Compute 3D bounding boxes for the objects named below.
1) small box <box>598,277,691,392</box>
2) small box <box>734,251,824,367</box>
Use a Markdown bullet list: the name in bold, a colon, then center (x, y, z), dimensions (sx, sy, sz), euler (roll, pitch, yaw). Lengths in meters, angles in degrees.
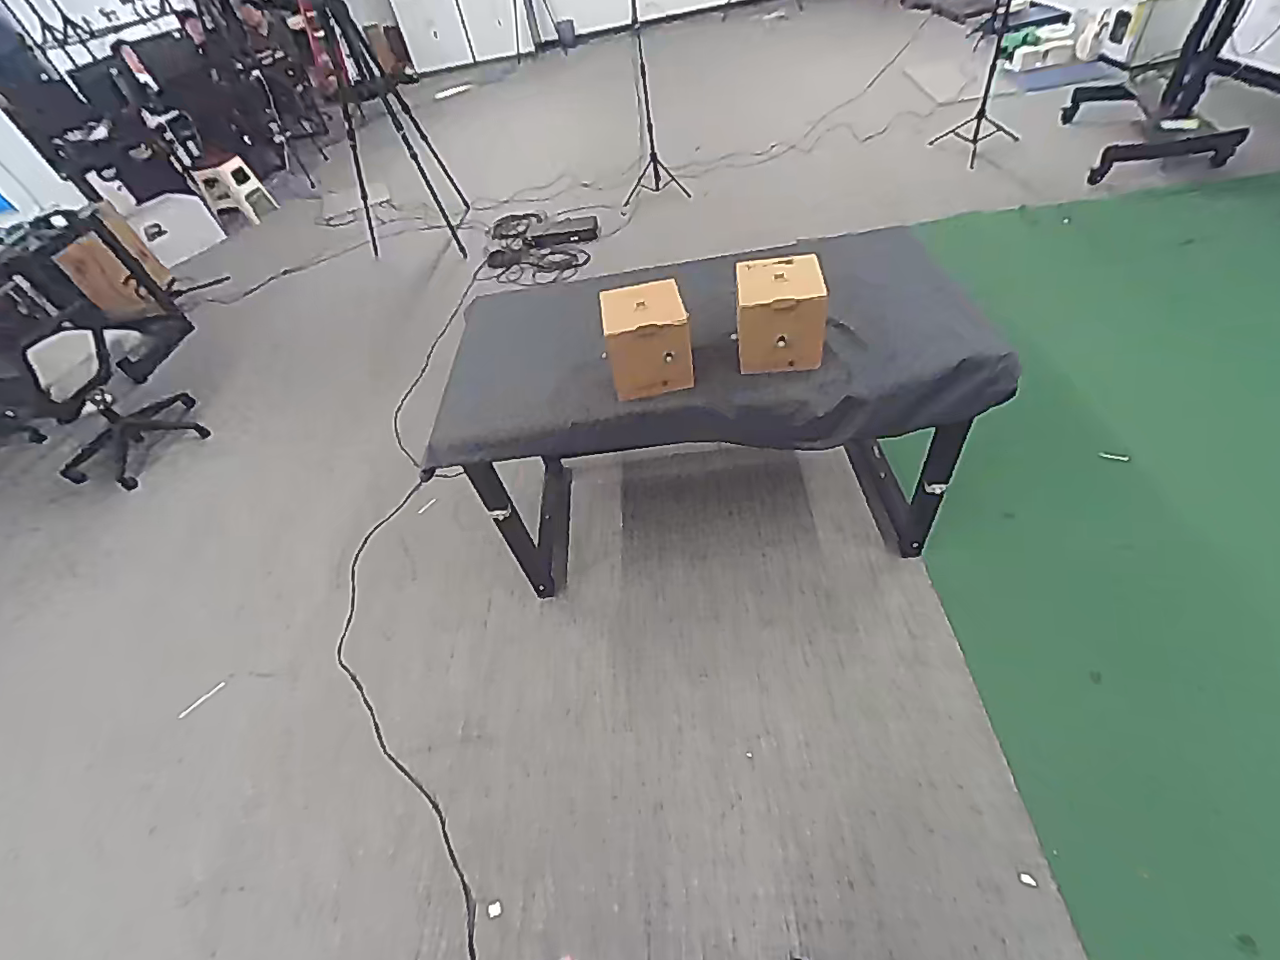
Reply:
- **small box**: center (0.010, -0.302, 1.148), dimensions (0.168, 0.176, 0.179), euler (-10, 45, 0)
- **small box**: center (0.285, -0.350, 1.134), dimensions (0.168, 0.176, 0.179), euler (-2, 49, 10)
